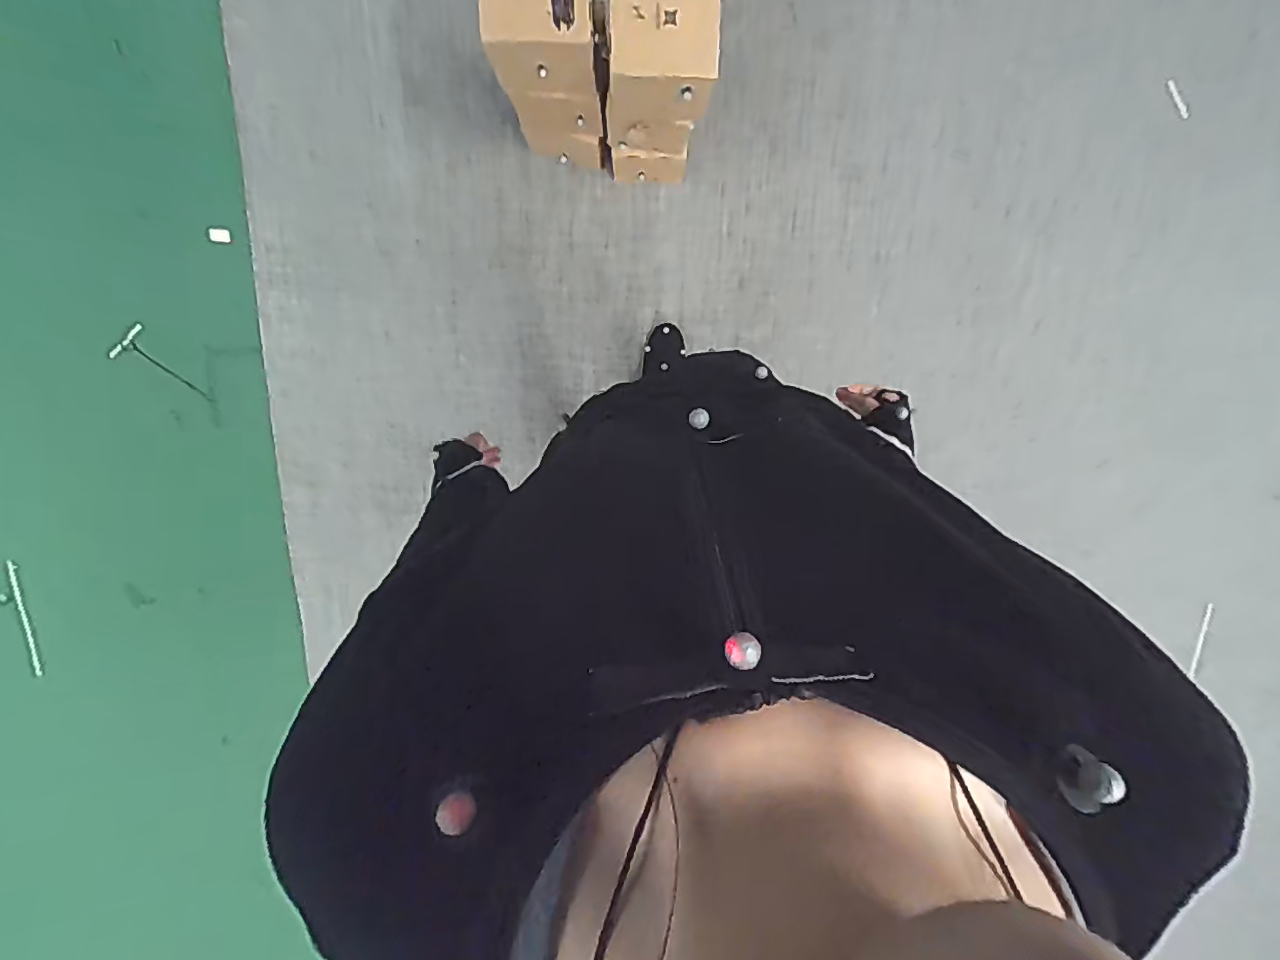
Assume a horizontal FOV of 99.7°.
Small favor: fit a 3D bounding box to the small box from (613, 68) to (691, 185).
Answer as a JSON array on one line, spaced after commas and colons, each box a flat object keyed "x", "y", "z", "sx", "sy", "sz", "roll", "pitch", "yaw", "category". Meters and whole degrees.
[{"x": 0.022, "y": -0.803, "z": 1.242, "sx": 0.168, "sy": 0.176, "sz": 0.179, "roll": 1, "pitch": 104, "yaw": -2, "category": "small box"}]
